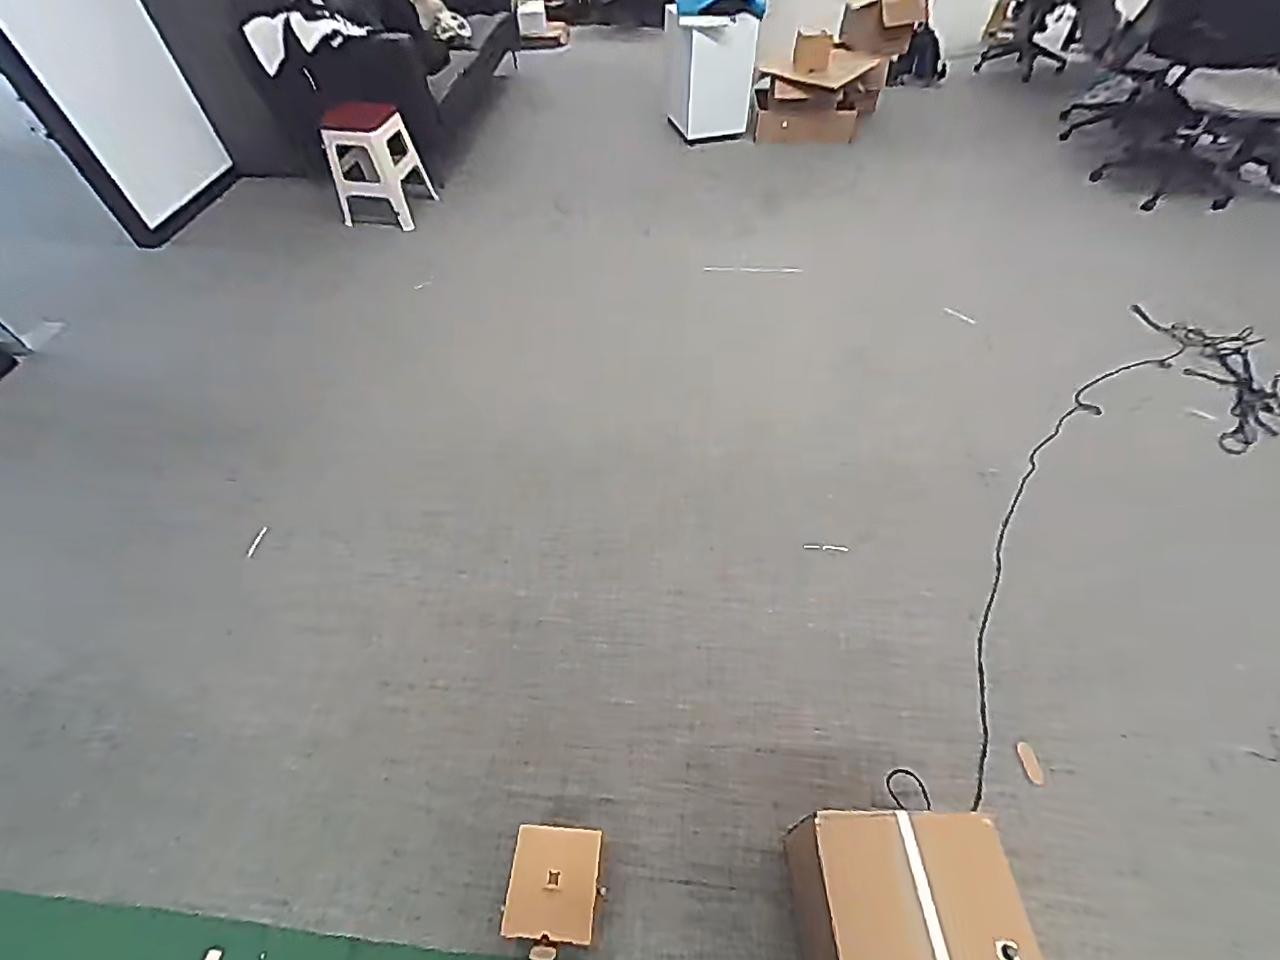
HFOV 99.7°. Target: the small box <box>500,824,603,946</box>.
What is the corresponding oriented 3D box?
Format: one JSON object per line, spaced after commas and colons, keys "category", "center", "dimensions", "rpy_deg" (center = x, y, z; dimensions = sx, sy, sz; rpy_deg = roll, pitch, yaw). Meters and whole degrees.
{"category": "small box", "center": [-0.166, 0.810, 1.084], "dimensions": [0.168, 0.176, 0.179], "rpy_deg": [3, 52, 3]}
